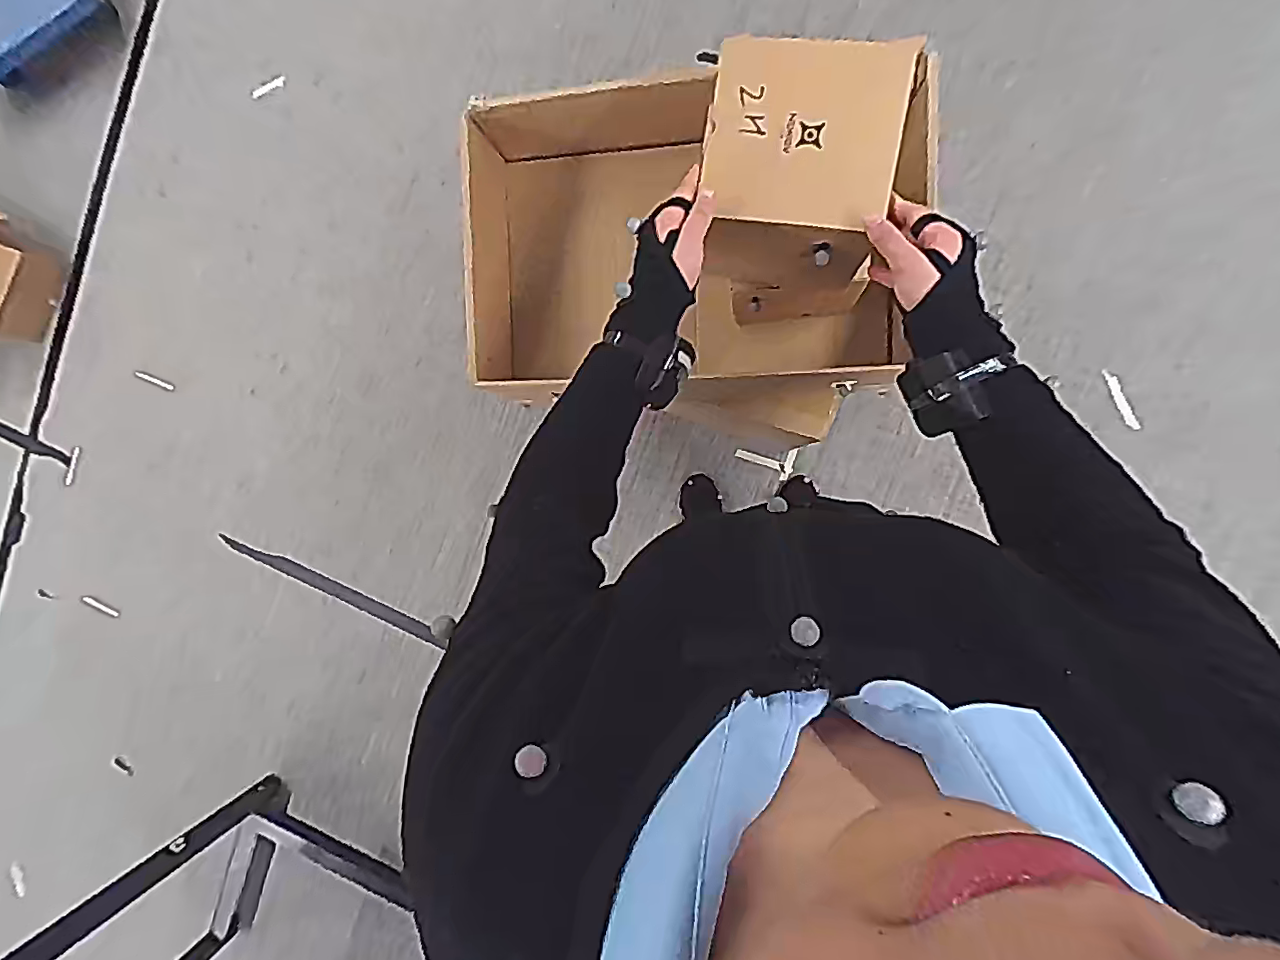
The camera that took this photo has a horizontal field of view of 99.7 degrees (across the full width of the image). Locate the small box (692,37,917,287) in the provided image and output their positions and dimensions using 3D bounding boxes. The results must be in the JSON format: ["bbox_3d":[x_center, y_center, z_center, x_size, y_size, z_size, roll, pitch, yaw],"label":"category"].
[{"bbox_3d":[0.159,-0.315,0.570,0.179,0.176,0.168,10,93,10],"label":"small box"}]
